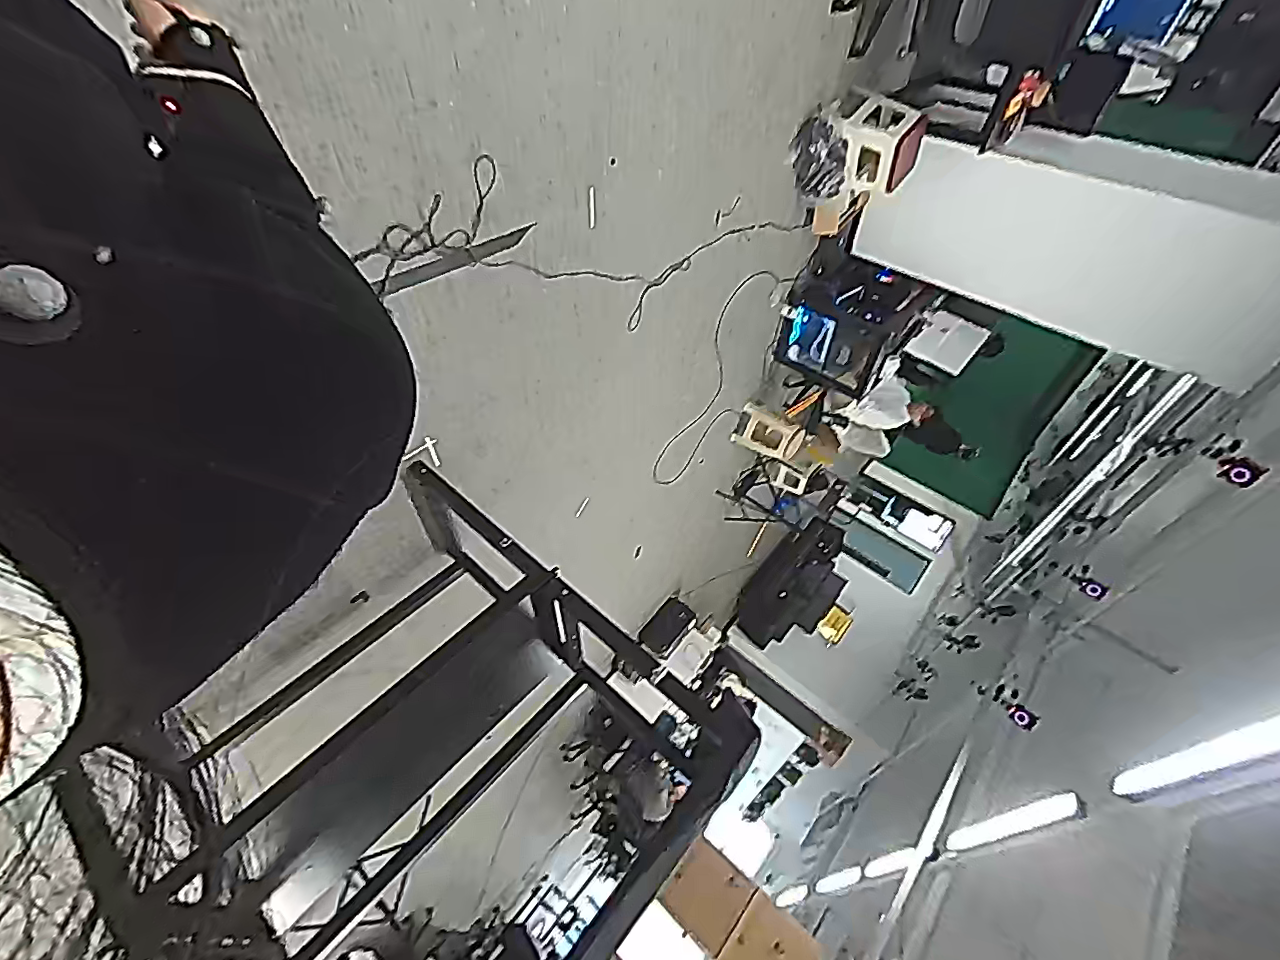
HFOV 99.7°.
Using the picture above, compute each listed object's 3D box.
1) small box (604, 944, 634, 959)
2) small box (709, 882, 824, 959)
[{"bbox_3d":[-0.039,1.106,1.113,0.168,0.176,0.179,-39,153,-31],"label":"small box"},{"bbox_3d":[0.271,1.030,1.191,0.168,0.176,0.179,-40,153,-30],"label":"small box"}]
